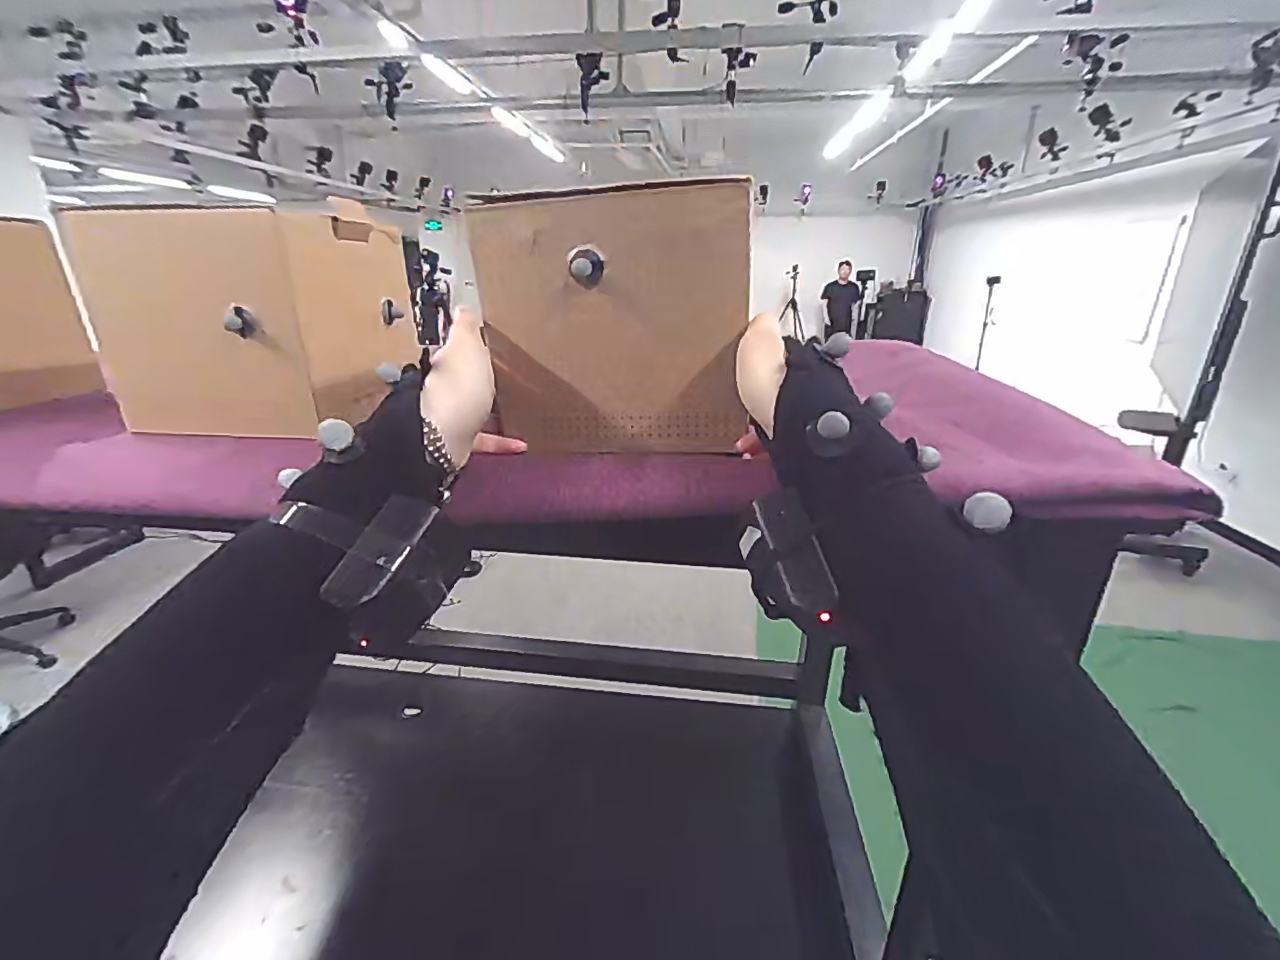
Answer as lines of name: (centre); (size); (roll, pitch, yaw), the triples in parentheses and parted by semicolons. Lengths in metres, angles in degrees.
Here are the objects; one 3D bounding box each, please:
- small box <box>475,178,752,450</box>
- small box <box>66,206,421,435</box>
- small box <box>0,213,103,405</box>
small box: (-0.002, -0.126, 0.428); (0.179, 0.176, 0.168); (1, 23, 11)
small box: (-0.319, -0.140, 0.481); (0.179, 0.176, 0.168); (2, 20, 6)
small box: (-0.661, -0.151, 0.489); (0.168, 0.176, 0.179); (3, 21, 4)
